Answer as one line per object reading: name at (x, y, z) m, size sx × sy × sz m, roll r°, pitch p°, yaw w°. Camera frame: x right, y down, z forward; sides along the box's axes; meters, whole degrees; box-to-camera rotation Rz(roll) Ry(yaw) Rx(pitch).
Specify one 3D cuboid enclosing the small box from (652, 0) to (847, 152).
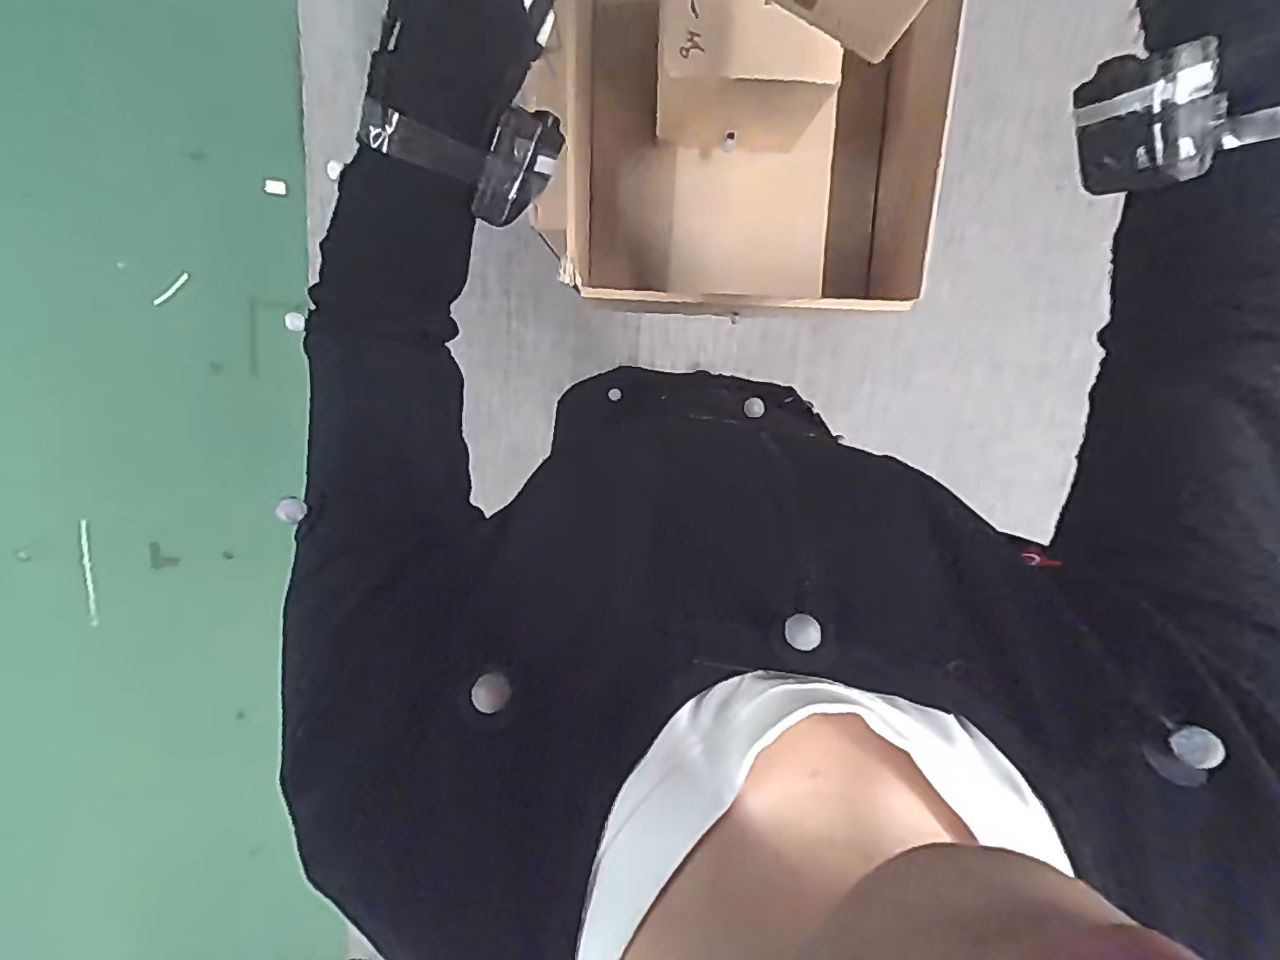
small box at (0.109, -0.481, 0.589) m, size 0.179 × 0.176 × 0.168 m, roll 2°, pitch 100°, yaw -3°
